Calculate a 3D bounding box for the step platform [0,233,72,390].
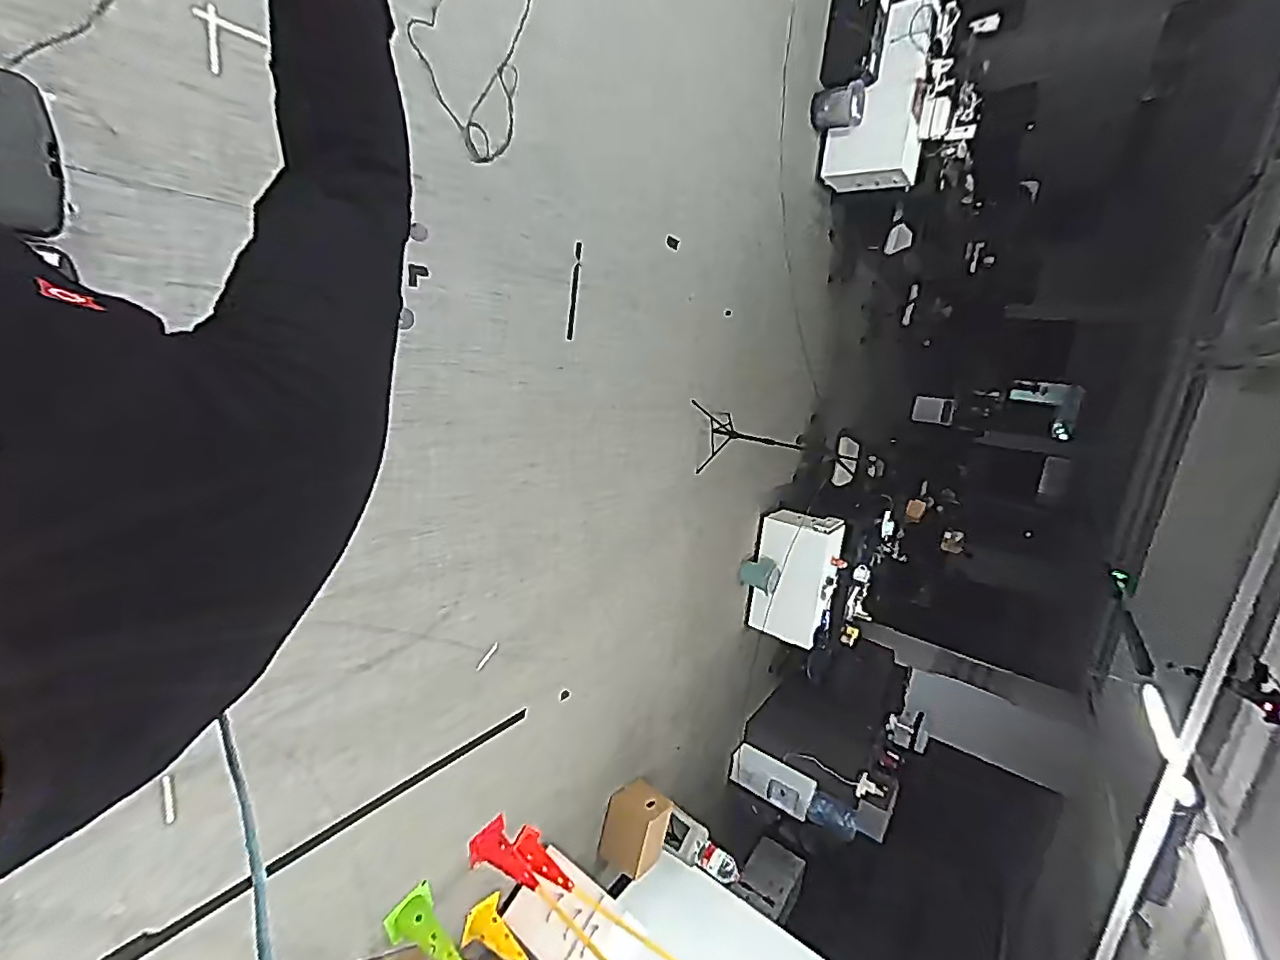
[{"bbox_3d":[-1.364,-0.278,0.827,0.684,0.204,0.286,-14,114,-51],"label":"step platform"}]
